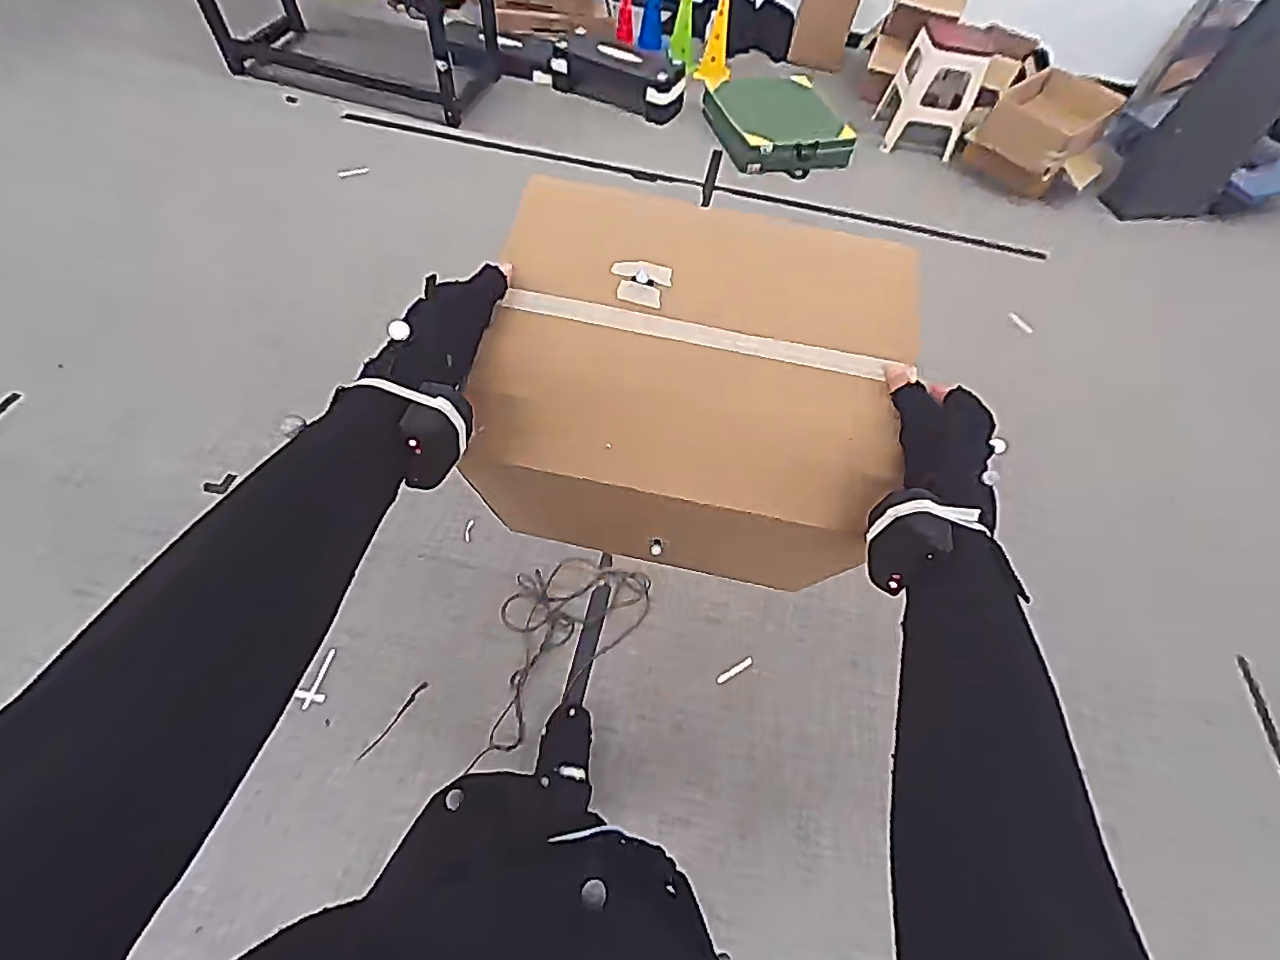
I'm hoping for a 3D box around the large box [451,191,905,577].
[{"bbox_3d":[0.052,-0.086,0.662,0.408,0.320,0.320,12,70,3],"label":"large box"}]
